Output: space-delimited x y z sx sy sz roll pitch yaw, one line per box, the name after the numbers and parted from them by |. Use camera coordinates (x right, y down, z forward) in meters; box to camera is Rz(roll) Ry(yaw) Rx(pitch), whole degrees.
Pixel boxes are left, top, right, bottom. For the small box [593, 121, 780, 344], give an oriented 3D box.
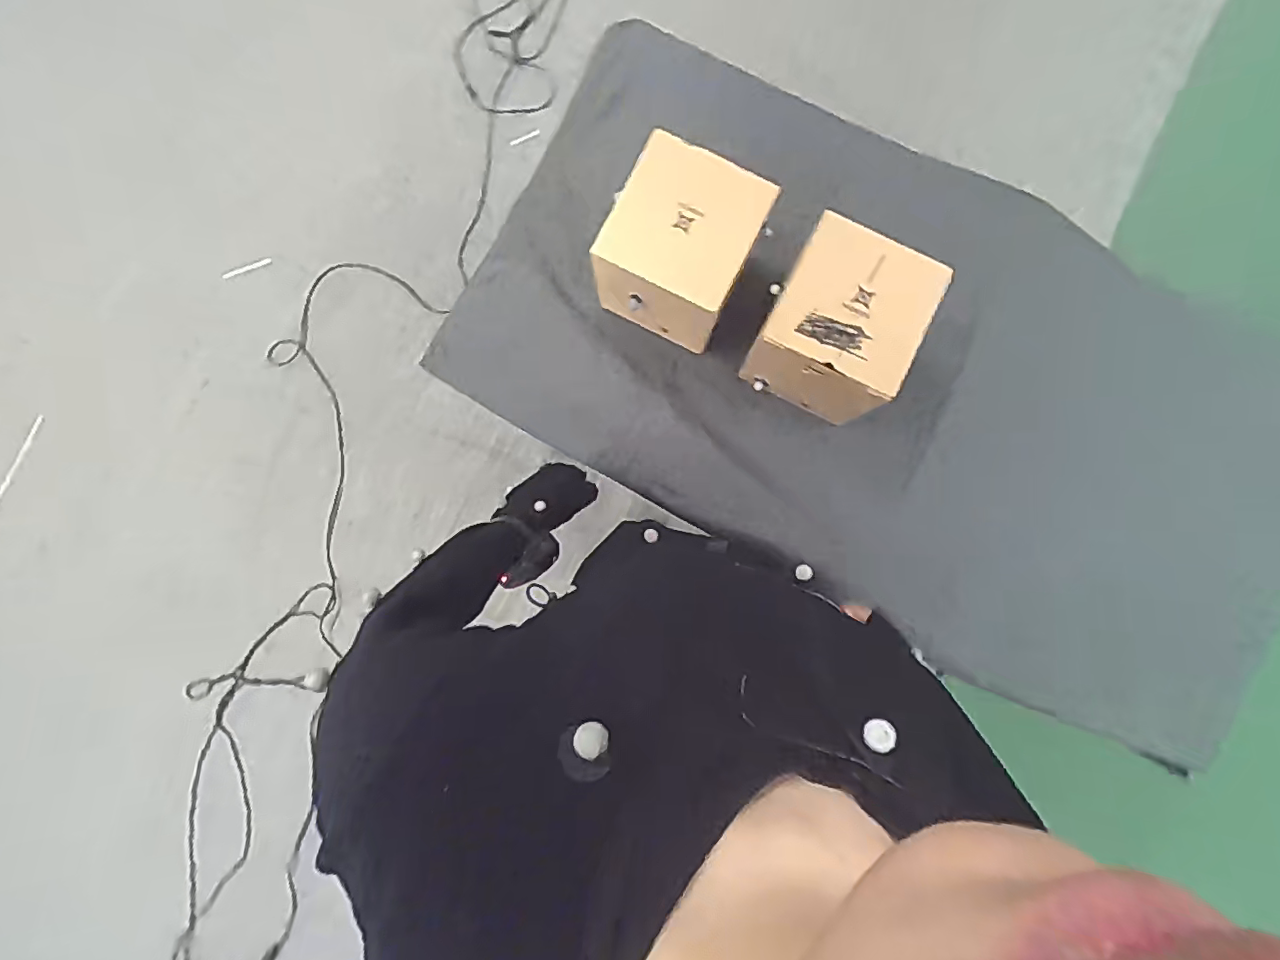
0.056 -0.305 0.707 0.168 0.176 0.179 27 86 2 | small box
